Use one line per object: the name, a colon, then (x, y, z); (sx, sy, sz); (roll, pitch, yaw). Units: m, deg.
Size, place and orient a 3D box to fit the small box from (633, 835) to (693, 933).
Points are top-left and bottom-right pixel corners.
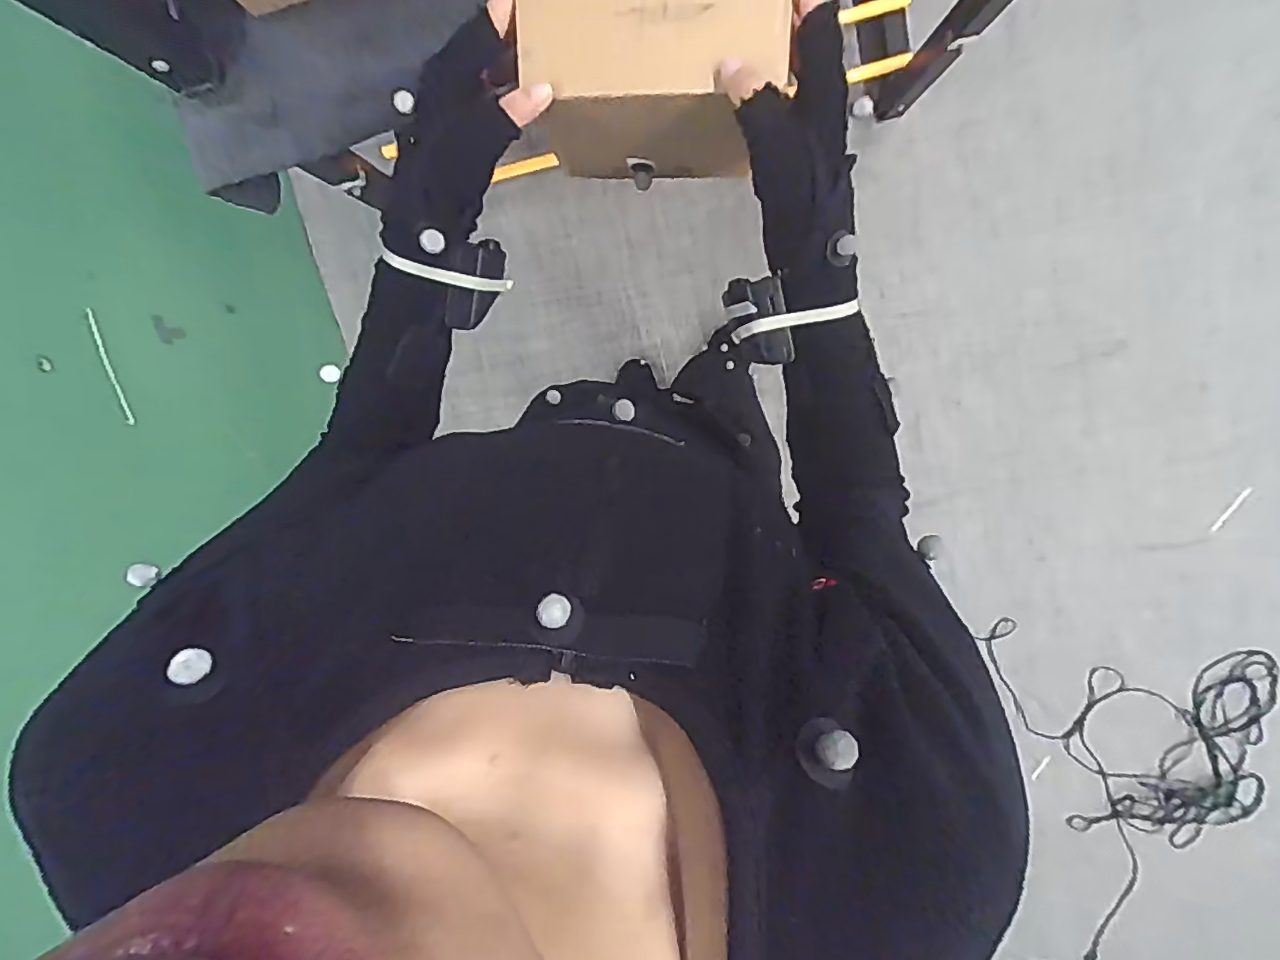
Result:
small box: (0.072, 1.224, 1.643); (0.168, 0.176, 0.179); (-6, 101, 3)
